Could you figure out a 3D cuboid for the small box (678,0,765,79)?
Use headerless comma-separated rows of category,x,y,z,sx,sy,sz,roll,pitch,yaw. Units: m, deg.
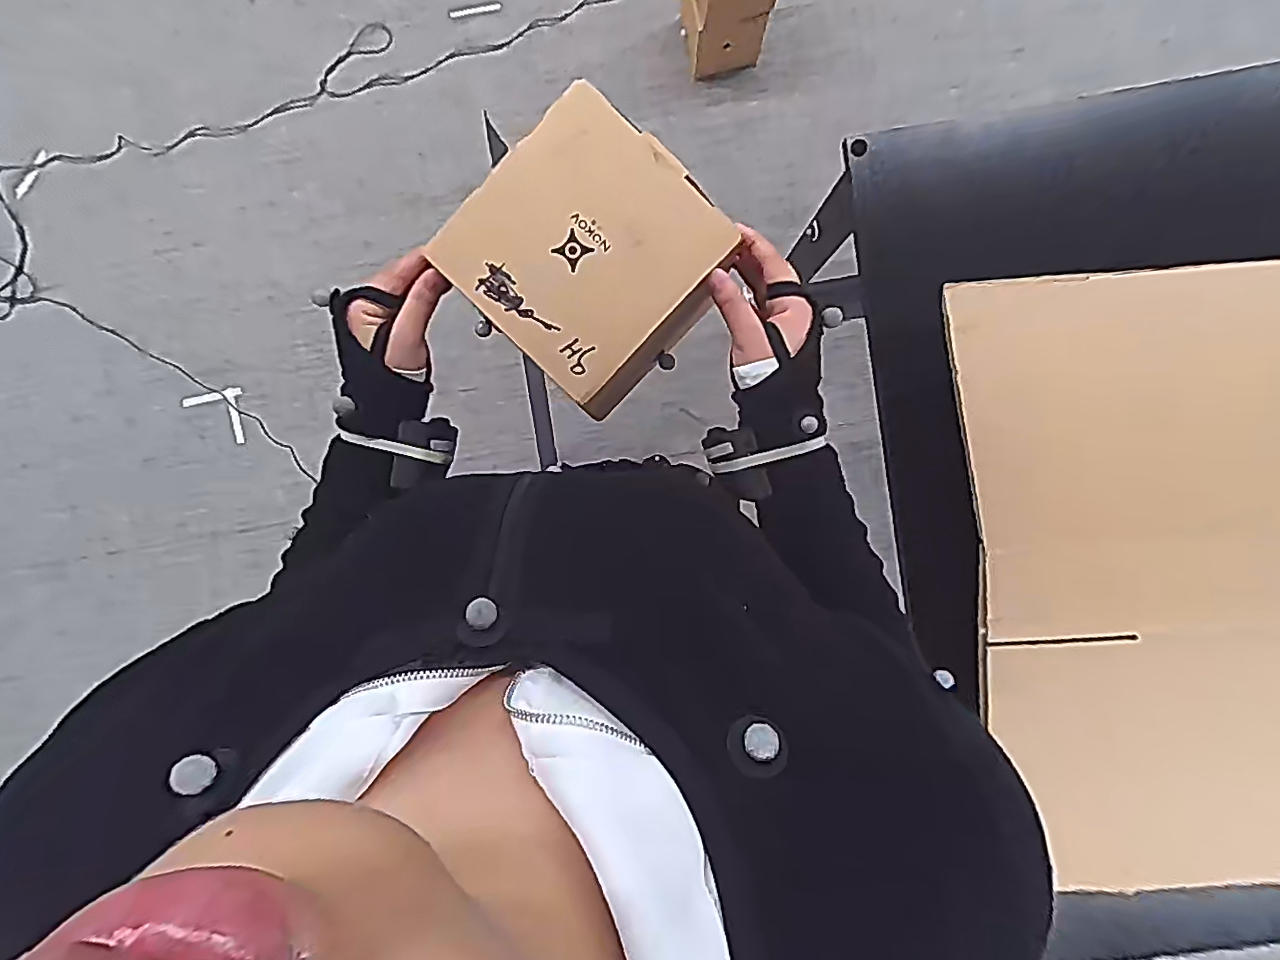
small box,0.199,-1.161,1.359,0.179,0.176,0.168,-13,92,3

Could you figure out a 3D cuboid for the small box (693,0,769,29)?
small box,0.201,-1.156,1.196,0.179,0.176,0.168,-16,93,1

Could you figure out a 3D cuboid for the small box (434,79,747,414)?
small box,-0.038,-0.179,0.476,0.168,0.176,0.179,44,91,0
